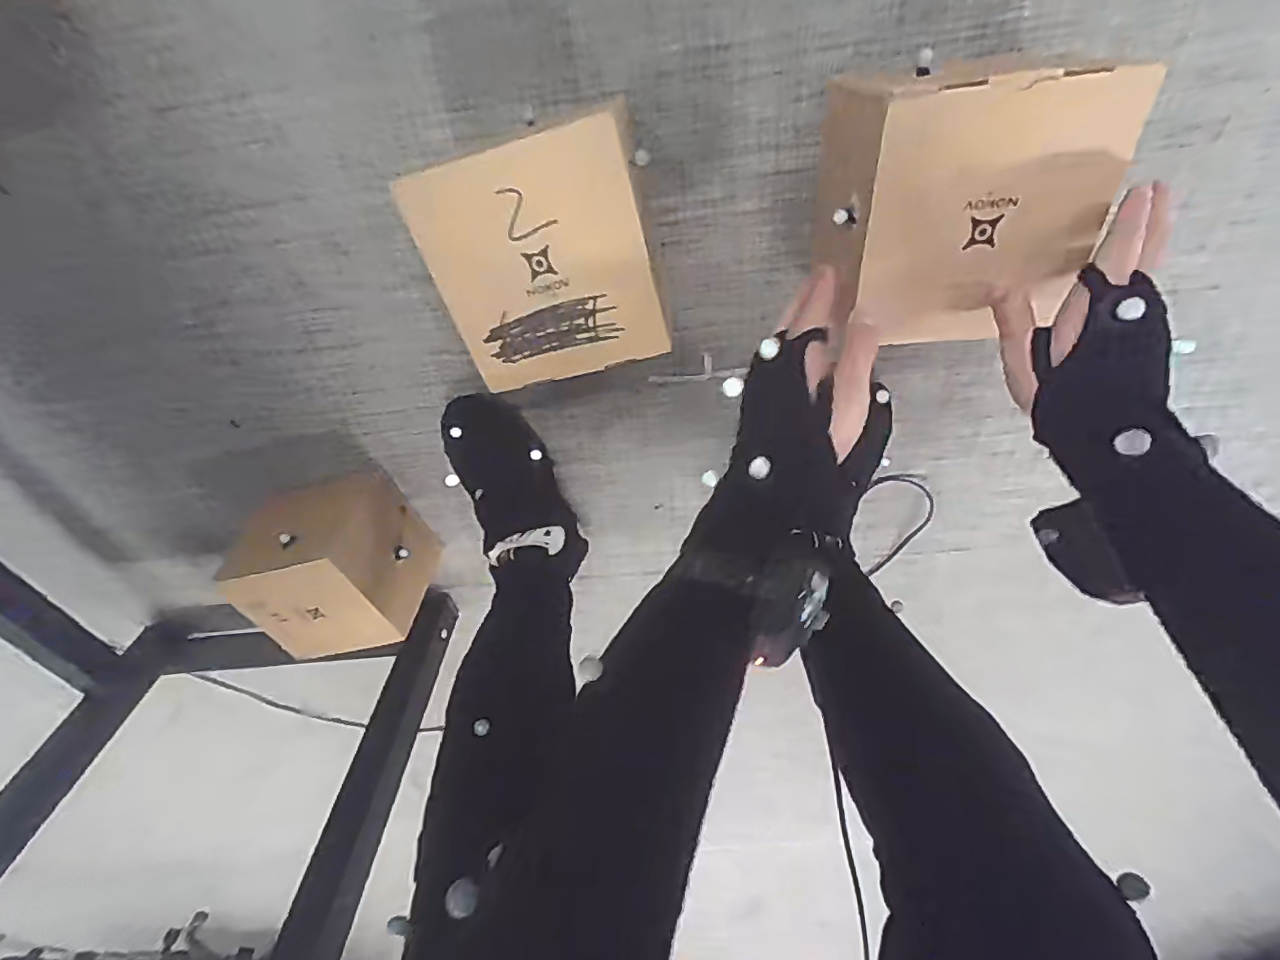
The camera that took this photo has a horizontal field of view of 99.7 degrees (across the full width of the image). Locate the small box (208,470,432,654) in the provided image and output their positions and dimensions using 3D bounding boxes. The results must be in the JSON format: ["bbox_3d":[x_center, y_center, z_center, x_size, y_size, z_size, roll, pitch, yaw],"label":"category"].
[{"bbox_3d":[-0.405,0.106,0.729,0.179,0.176,0.168,-12,127,11],"label":"small box"}]

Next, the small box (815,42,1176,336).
[{"bbox_3d":[0.250,-0.236,0.442,0.168,0.176,0.179,-2,128,4],"label":"small box"}]
